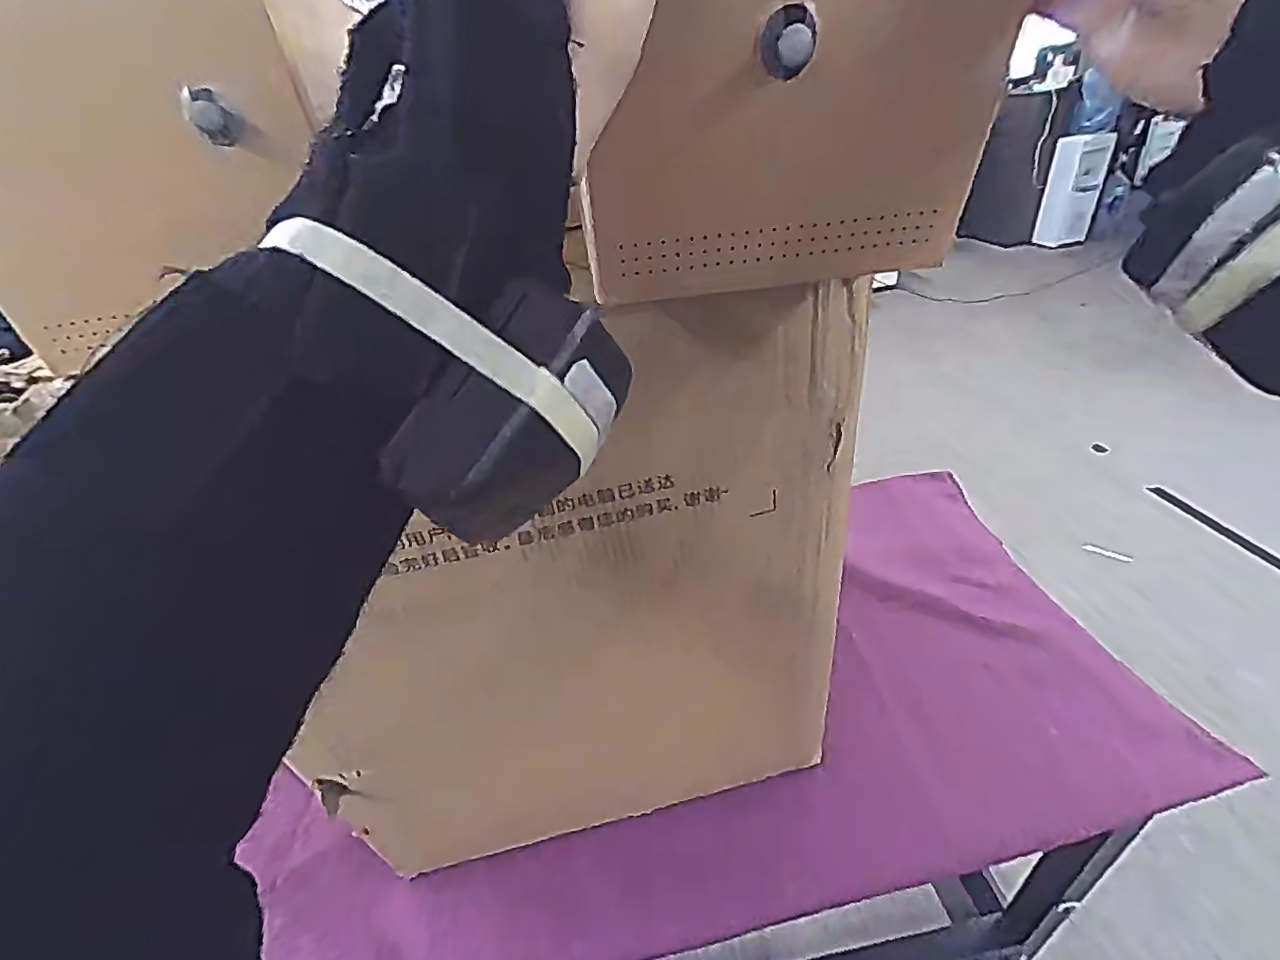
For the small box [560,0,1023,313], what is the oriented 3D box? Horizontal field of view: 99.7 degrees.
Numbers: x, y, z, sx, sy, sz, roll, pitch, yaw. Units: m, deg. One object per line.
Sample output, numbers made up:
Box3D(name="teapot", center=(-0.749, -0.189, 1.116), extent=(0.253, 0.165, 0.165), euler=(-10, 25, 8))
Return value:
Box3D(name="small box", center=(0.053, -0.203, 0.272), extent=(0.179, 0.176, 0.168), euler=(-8, 44, -3))
